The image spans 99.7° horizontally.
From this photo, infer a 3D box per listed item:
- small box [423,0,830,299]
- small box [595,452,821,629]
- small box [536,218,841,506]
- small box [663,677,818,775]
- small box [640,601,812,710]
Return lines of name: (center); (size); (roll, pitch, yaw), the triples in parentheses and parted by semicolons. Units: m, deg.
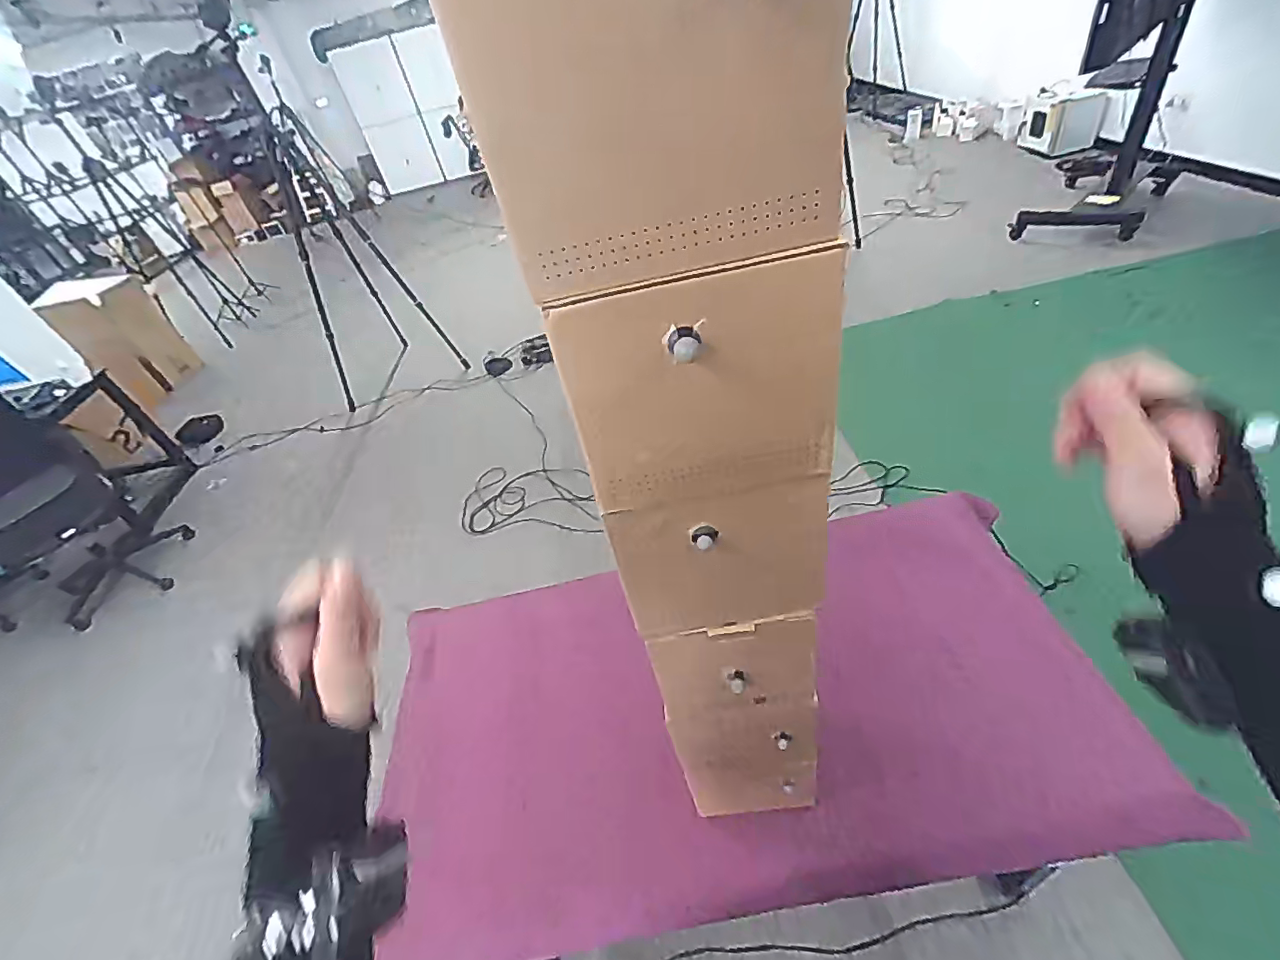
small box: (0.001, -0.227, 0.311); (0.179, 0.176, 0.168); (-11, 40, 5)
small box: (0.062, 0.021, 0.515); (0.179, 0.176, 0.168); (-10, 40, 4)
small box: (0.036, -0.102, 0.412); (0.179, 0.176, 0.168); (-11, 40, 5)
small box: (0.126, 0.269, 0.718); (0.179, 0.176, 0.168); (-10, 40, 6)
small box: (0.094, 0.145, 0.619); (0.168, 0.176, 0.179); (-9, 41, 6)
